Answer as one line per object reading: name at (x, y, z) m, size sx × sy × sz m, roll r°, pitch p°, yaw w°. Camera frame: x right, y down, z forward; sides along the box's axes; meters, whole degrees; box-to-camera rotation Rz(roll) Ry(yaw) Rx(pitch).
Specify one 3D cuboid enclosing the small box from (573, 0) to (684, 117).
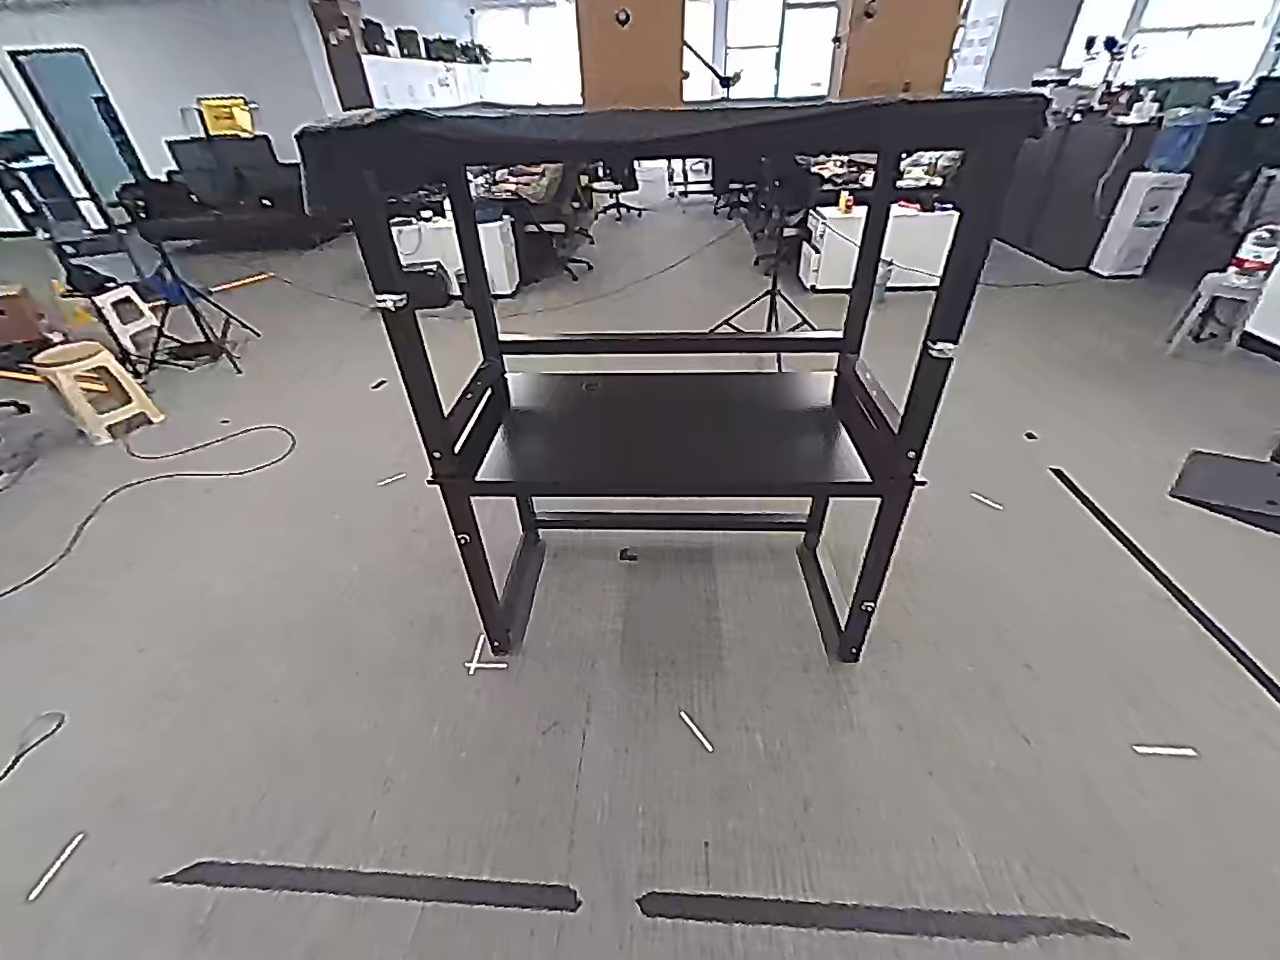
small box at (-0.015, -0.737, 0.943) m, size 0.179 × 0.176 × 0.168 m, roll -1°, pitch 35°, yaw 1°
